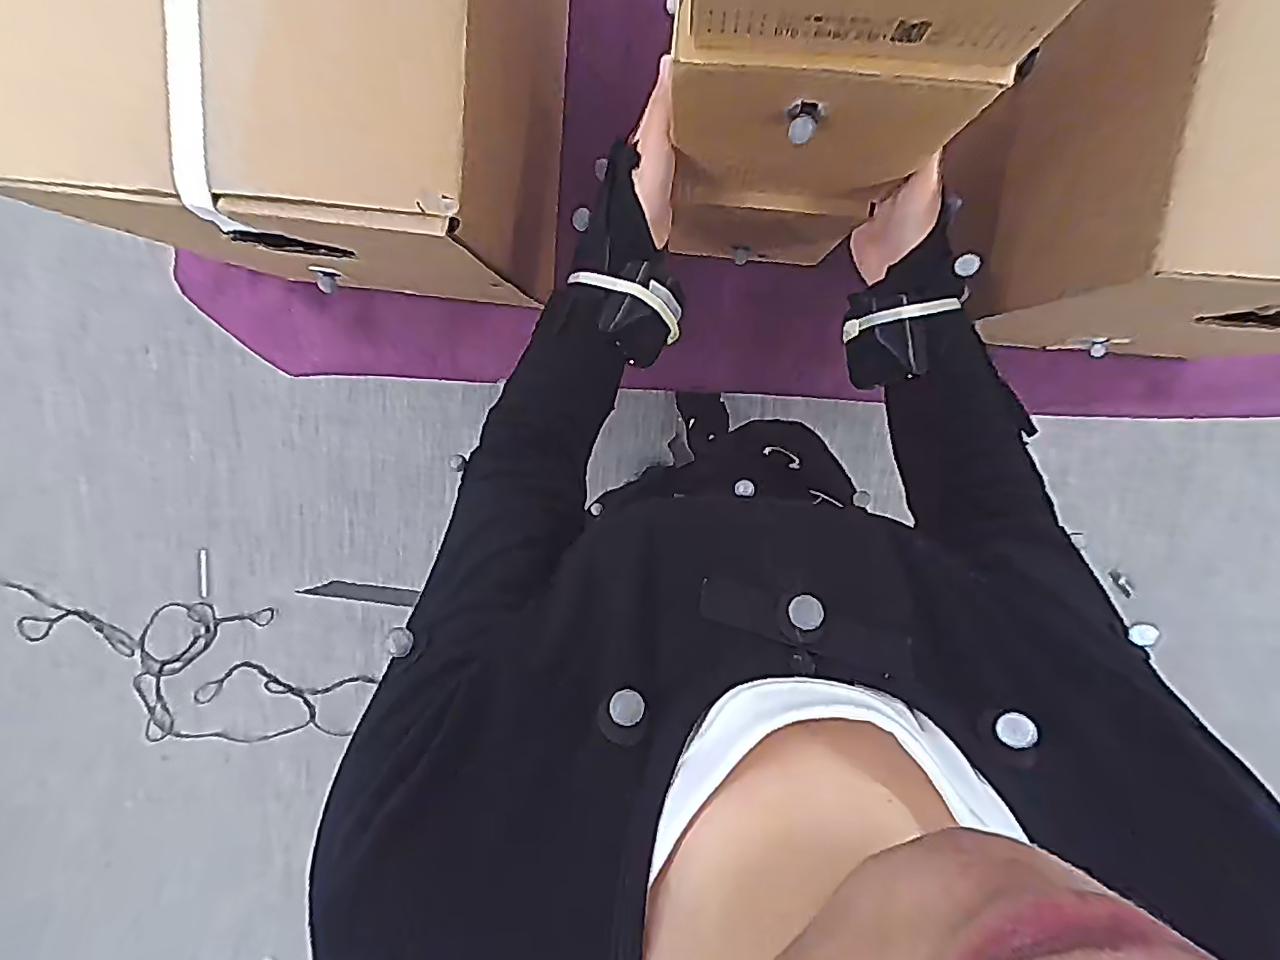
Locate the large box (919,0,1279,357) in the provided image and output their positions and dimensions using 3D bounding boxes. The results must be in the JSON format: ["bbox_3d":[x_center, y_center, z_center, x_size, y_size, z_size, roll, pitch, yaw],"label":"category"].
[{"bbox_3d":[0.459,-0.318,0.419,0.320,0.320,0.408,5,98,2],"label":"large box"}]
